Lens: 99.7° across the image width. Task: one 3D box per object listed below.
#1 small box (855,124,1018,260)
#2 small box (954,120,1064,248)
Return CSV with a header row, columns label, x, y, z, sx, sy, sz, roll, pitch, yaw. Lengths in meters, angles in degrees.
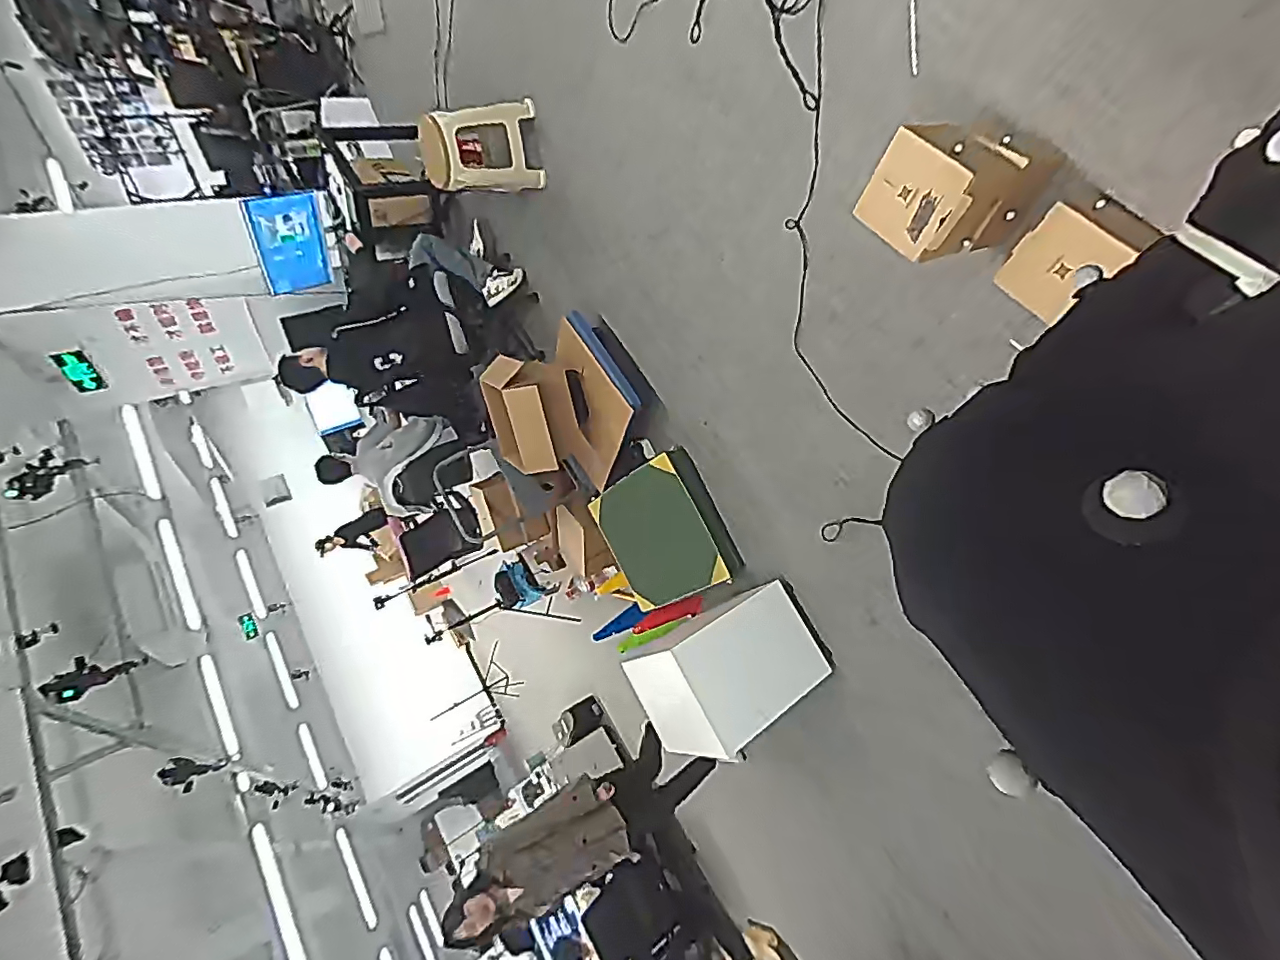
label,x,y,z,sx,sy,sz,roll,pitch,yaw
small box,0.558,-0.549,1.023,0.179,0.176,0.168,54,148,23
small box,0.698,-0.601,1.095,0.168,0.176,0.179,51,147,27
